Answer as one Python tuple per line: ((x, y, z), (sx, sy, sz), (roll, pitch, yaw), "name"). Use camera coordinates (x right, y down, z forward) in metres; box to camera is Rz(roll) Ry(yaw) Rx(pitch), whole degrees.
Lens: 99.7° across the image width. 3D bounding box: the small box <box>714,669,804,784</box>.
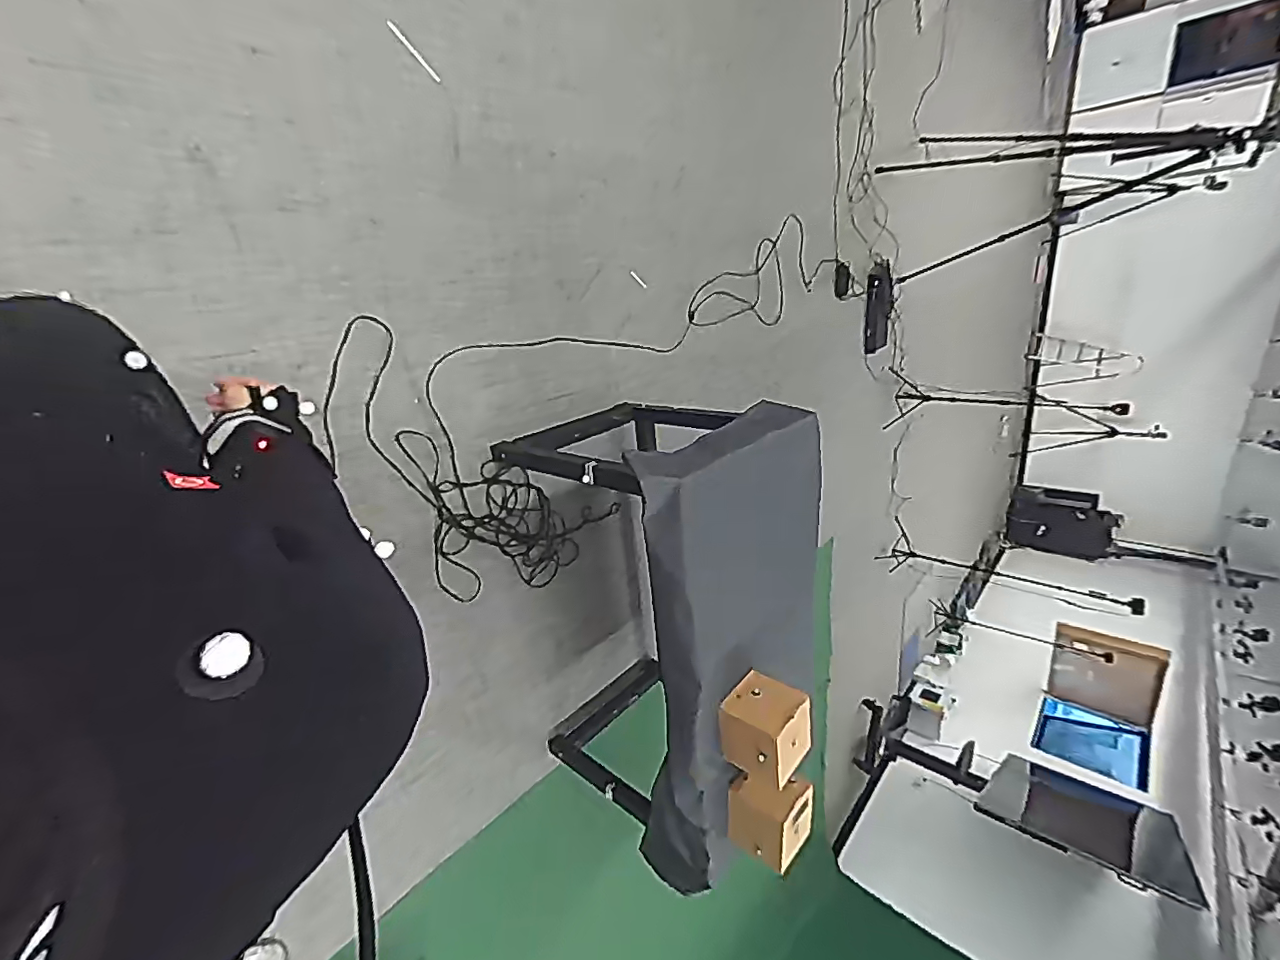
((0.305, 0.623, 1.391), (0.168, 0.176, 0.179), (-28, 119, -41), "small box")
